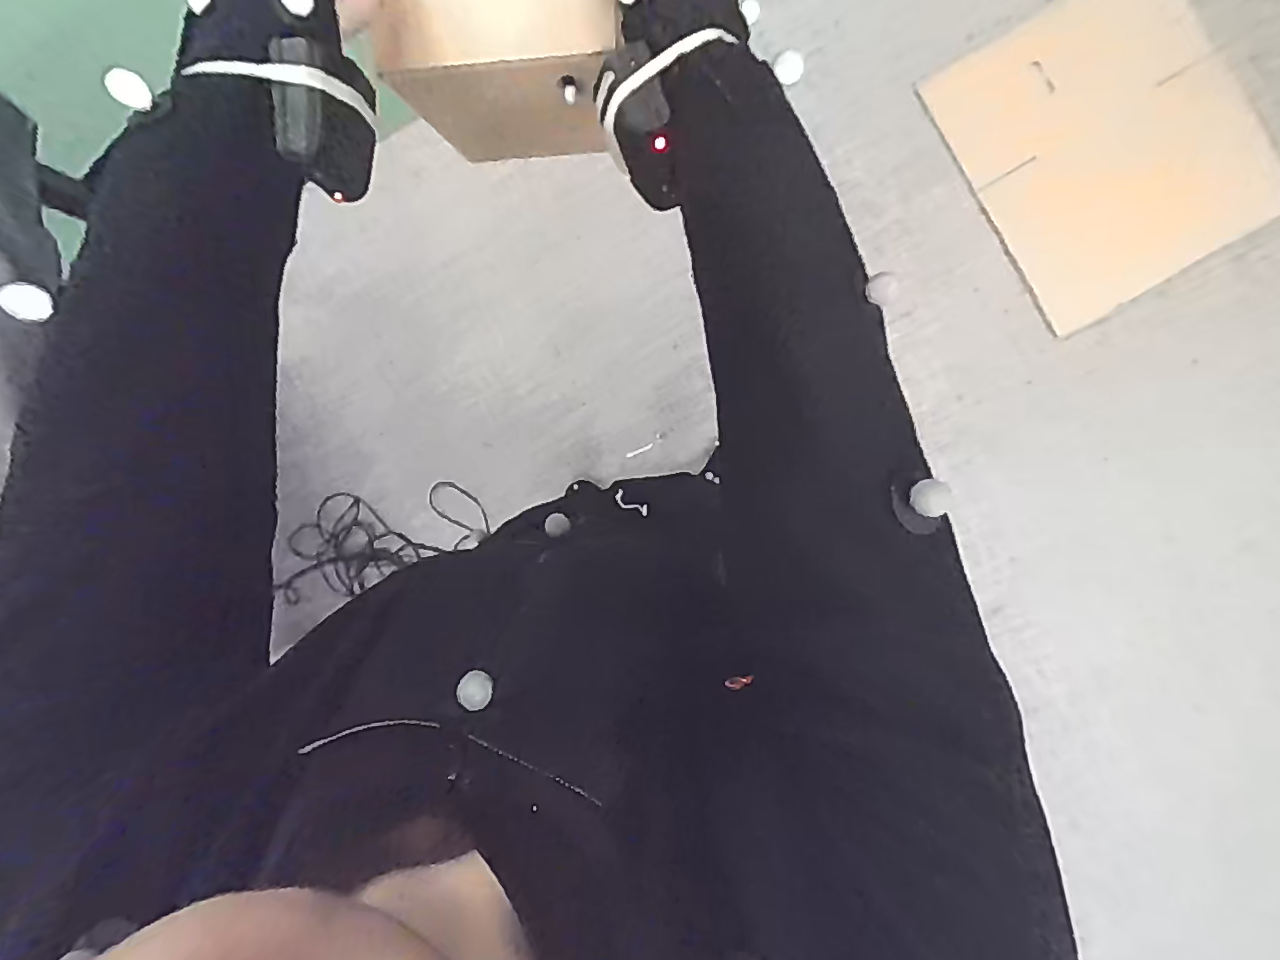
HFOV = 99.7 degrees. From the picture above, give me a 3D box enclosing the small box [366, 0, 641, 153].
[{"bbox_3d":[-0.095,-0.383,0.429,0.179,0.176,0.168,-2,101,4],"label":"small box"}]
